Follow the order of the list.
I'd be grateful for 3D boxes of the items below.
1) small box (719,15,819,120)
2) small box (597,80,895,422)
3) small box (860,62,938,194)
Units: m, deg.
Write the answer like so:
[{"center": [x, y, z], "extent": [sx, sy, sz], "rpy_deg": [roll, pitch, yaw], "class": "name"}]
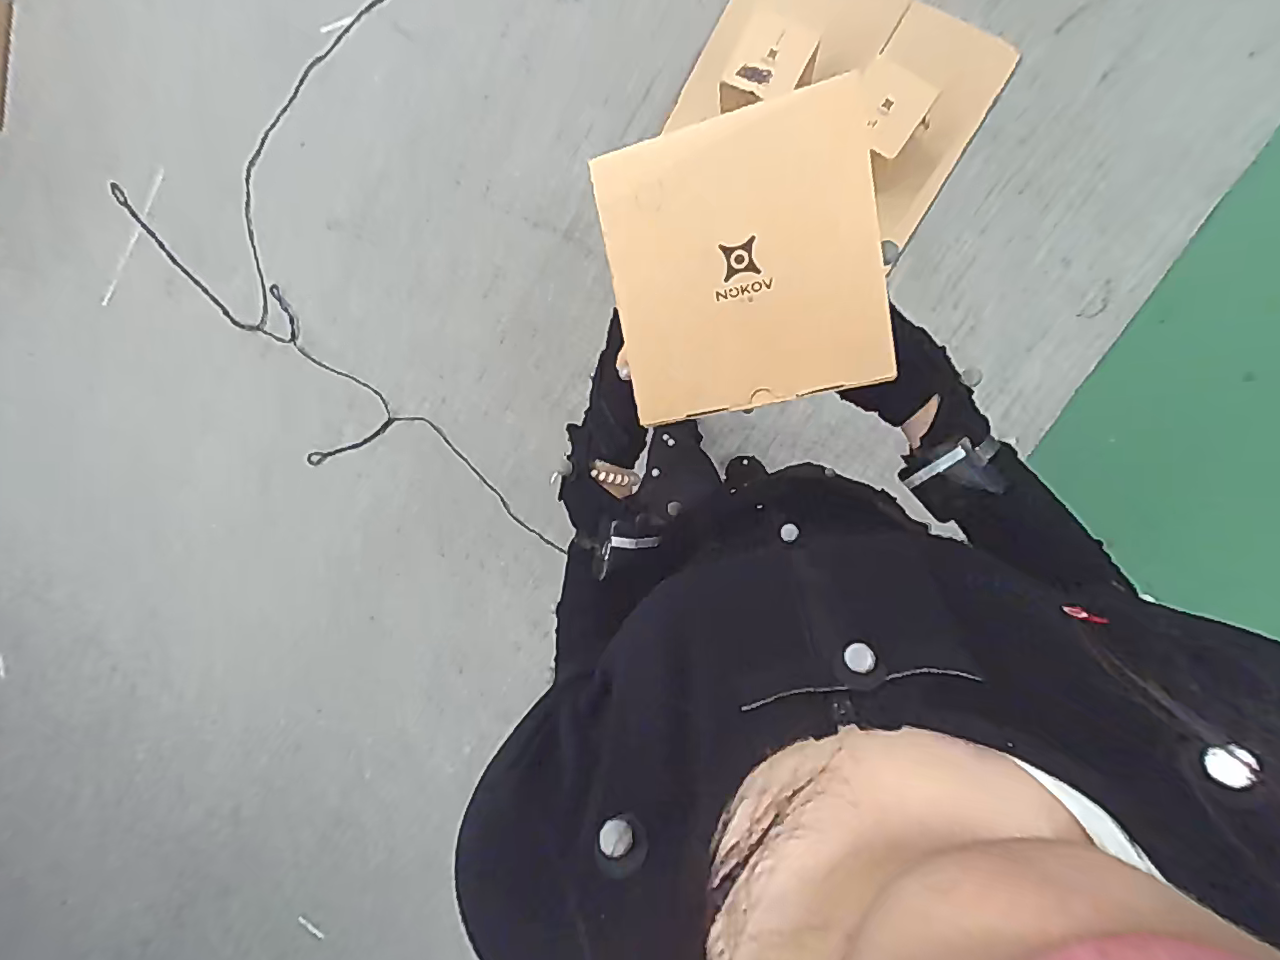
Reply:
[{"center": [0.305, -0.945, 1.304], "extent": [0.168, 0.176, 0.179], "rpy_deg": [29, 97, 6], "class": "small box"}, {"center": [0.081, -0.151, 0.418], "extent": [0.168, 0.176, 0.179], "rpy_deg": [-10, 100, 14], "class": "small box"}, {"center": [0.553, -0.816, 1.279], "extent": [0.168, 0.176, 0.179], "rpy_deg": [35, 98, 6], "class": "small box"}]
